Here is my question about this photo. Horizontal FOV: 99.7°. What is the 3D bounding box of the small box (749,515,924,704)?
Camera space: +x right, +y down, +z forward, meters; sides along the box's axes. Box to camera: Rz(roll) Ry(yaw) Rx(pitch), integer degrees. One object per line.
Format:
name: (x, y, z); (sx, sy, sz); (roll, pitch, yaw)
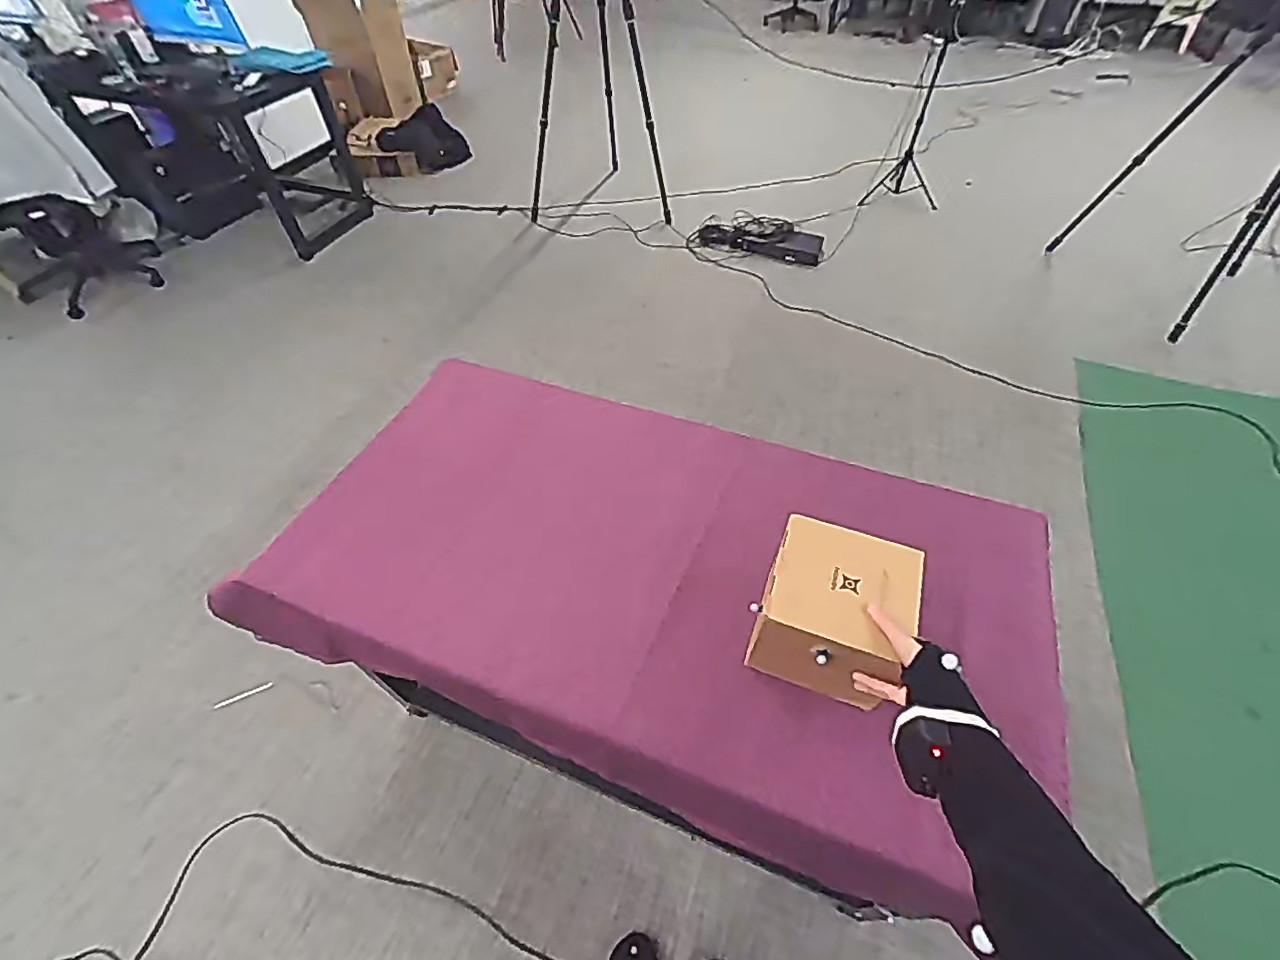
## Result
small box: (0.259, 0.180, 0.737); (0.179, 0.176, 0.168); (17, 54, 14)
